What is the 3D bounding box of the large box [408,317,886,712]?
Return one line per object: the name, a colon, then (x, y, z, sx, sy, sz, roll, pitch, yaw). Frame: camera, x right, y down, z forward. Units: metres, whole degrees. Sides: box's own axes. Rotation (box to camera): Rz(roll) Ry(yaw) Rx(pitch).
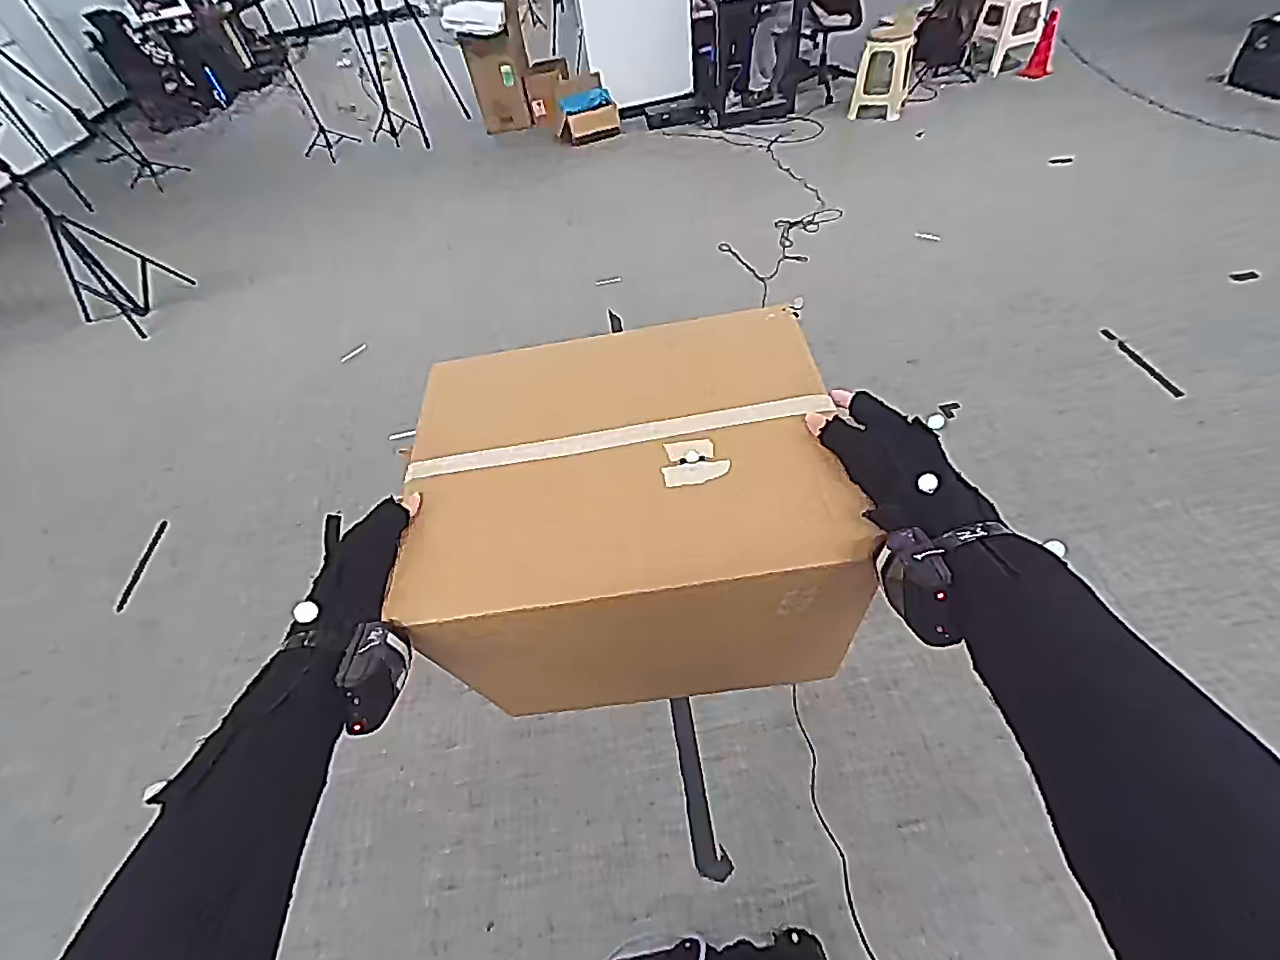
large box: (0.005, 0.055, 0.643, 0.408, 0.320, 0.320, -8, 54, 3)
